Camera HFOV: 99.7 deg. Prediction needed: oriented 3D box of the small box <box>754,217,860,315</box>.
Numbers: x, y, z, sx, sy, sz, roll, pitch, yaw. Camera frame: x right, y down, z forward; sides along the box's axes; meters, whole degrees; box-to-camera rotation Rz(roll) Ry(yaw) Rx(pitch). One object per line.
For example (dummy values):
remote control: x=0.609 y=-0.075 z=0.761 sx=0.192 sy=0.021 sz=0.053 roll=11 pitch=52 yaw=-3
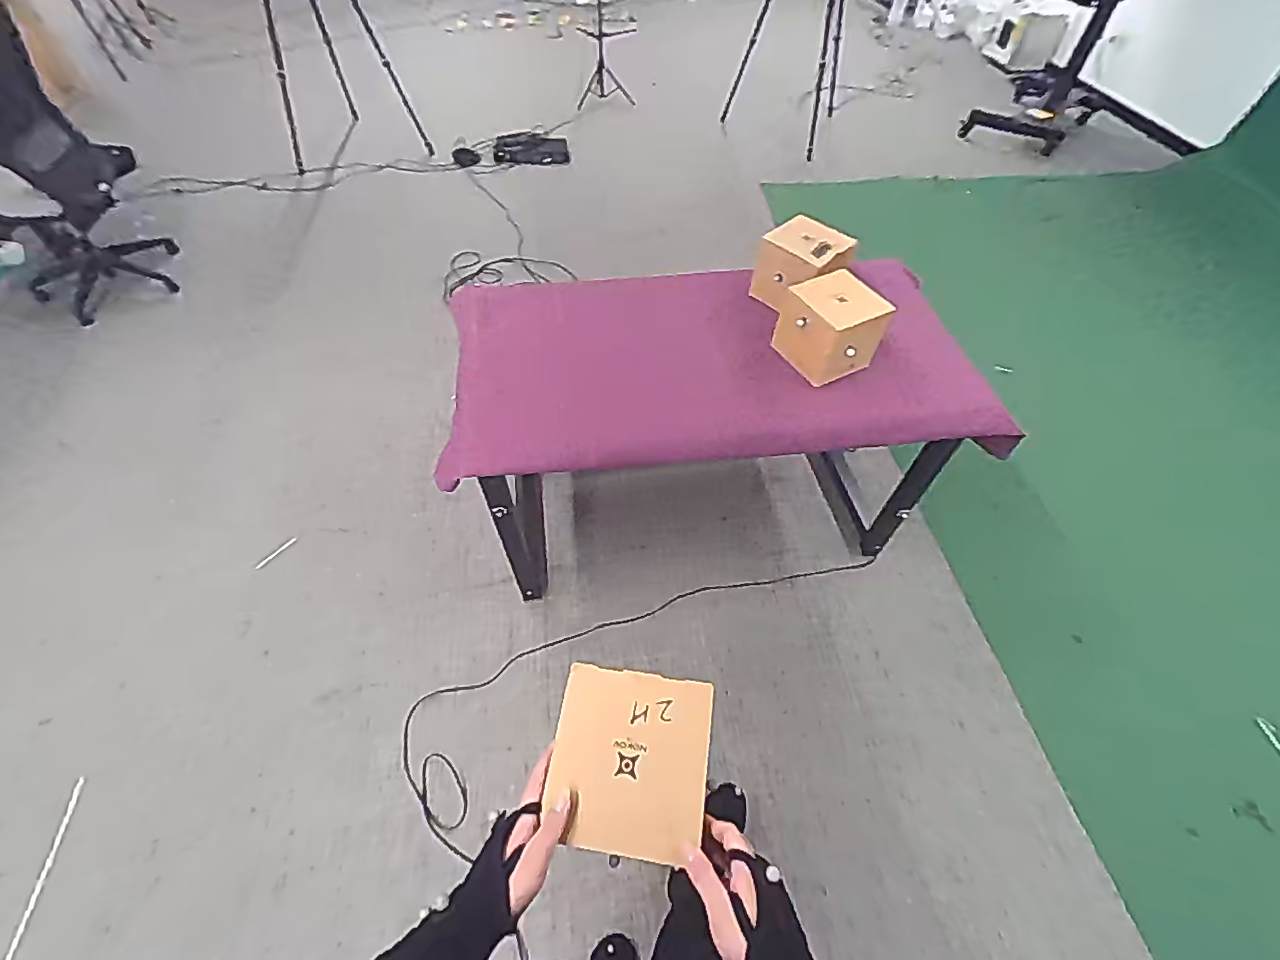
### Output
small box: x=0.418 y=-0.531 z=1.381 sx=0.168 sy=0.176 sz=0.179 roll=-36 pitch=62 yaw=-25

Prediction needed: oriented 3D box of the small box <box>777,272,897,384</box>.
small box: x=0.443 y=-0.342 z=1.246 sx=0.168 sy=0.176 sz=0.179 roll=-23 pitch=57 yaw=-17

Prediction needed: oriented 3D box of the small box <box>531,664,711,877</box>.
small box: x=-0.011 y=0.333 z=0.629 sx=0.168 sy=0.176 sz=0.179 roll=7 pitch=58 yaw=6
